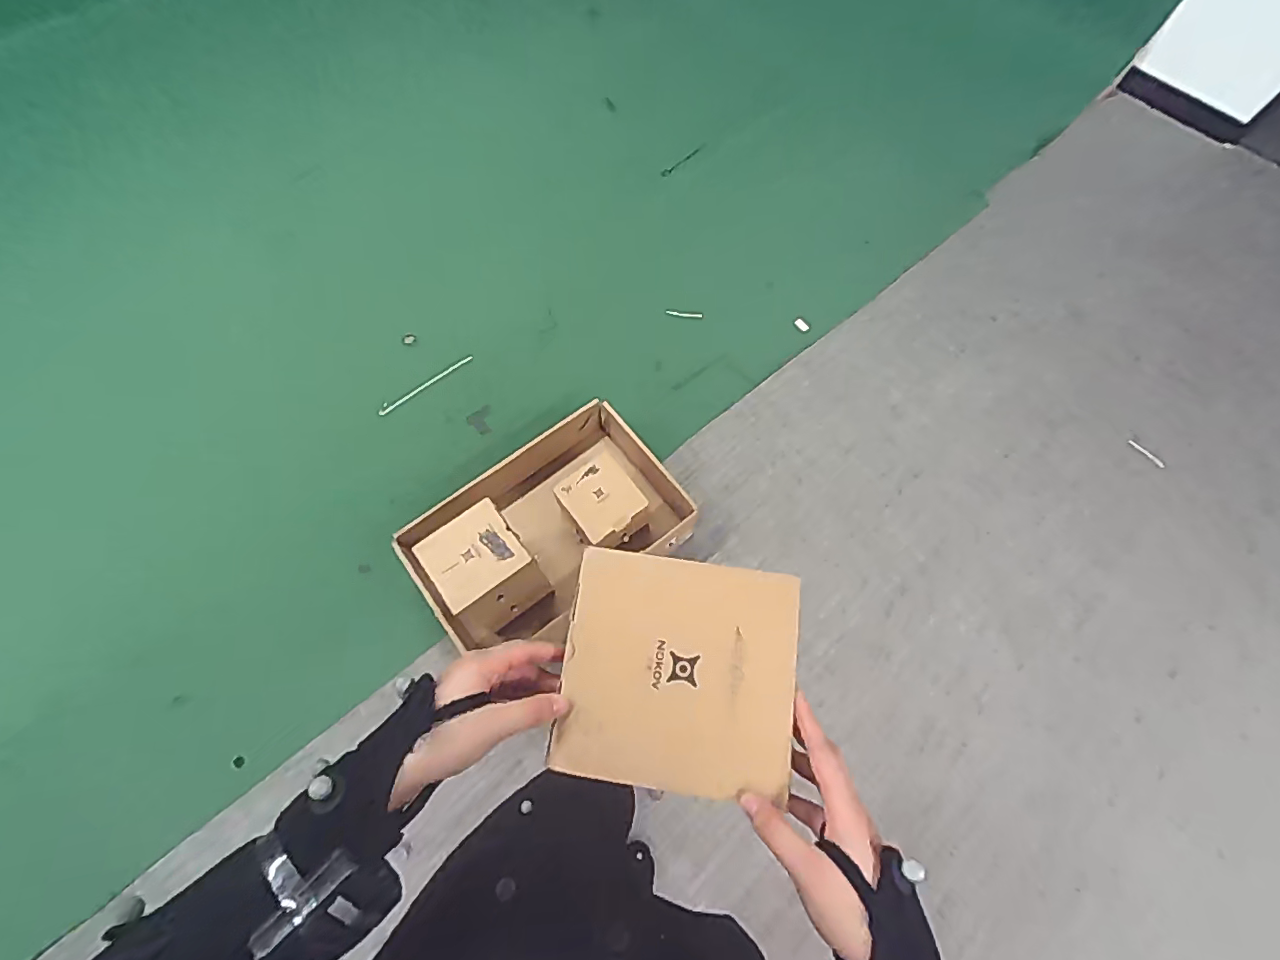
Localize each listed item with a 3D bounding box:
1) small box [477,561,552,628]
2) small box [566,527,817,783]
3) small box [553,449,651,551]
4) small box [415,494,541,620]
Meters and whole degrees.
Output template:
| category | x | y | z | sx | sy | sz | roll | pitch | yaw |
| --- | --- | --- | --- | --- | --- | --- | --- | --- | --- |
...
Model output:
| category | x | y | z | sx | sy | sz | roll | pitch | yaw |
| --- | --- | --- | --- | --- | --- | --- | --- | --- | --- |
| small box | -0.325 | 0.222 | 1.256 | 0.179 | 0.176 | 0.168 | -36 | 74 | -16 |
| small box | 0.044 | 0.150 | 0.481 | 0.179 | 0.176 | 0.168 | 7 | 72 | 3 |
| small box | -0.089 | 0.059 | 1.329 | 0.168 | 0.176 | 0.179 | -35 | 74 | -13 |
| small box | -0.318 | 0.163 | 1.102 | 0.179 | 0.176 | 0.168 | -35 | 73 | -14 |
